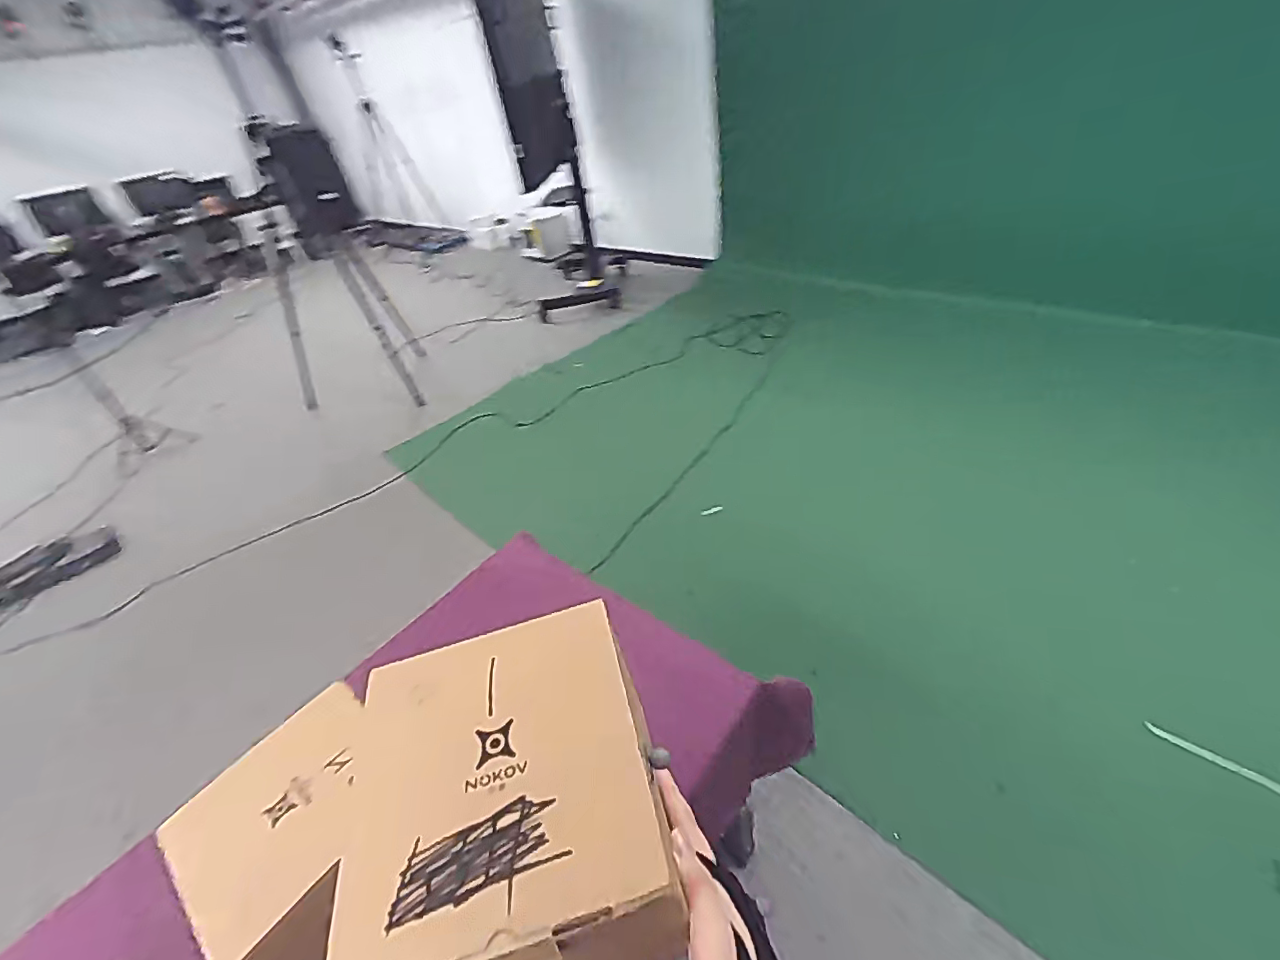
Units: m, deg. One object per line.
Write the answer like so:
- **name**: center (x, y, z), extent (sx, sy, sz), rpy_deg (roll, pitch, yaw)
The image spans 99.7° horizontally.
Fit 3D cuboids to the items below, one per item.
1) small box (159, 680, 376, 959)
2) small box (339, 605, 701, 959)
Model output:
- **small box**: center (-0.290, 0.341, 0.518), extent (0.168, 0.176, 0.179), rpy_deg (22, 49, 34)
- **small box**: center (-0.064, 0.221, 0.361), extent (0.168, 0.176, 0.179), rpy_deg (-15, 40, -4)
